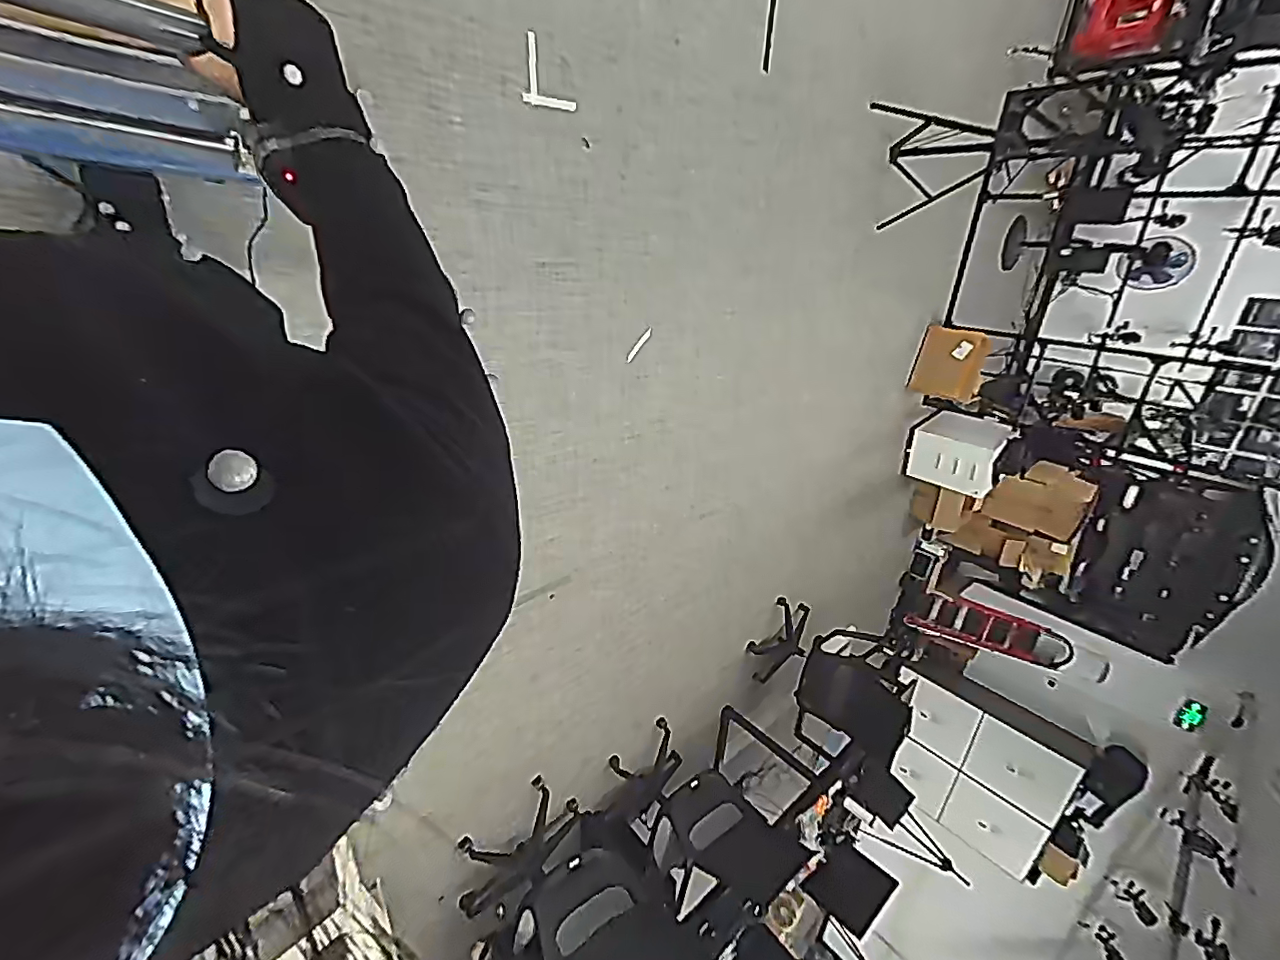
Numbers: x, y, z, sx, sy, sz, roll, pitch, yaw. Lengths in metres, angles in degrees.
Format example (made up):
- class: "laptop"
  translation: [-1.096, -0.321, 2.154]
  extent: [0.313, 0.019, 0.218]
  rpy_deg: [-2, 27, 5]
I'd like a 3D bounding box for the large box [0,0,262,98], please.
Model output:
- class: "large box"
  translation: [-0.763, -0.708, 0.661]
  extent: [0.408, 0.320, 0.320]
  rpy_deg: [-18, 122, -40]
